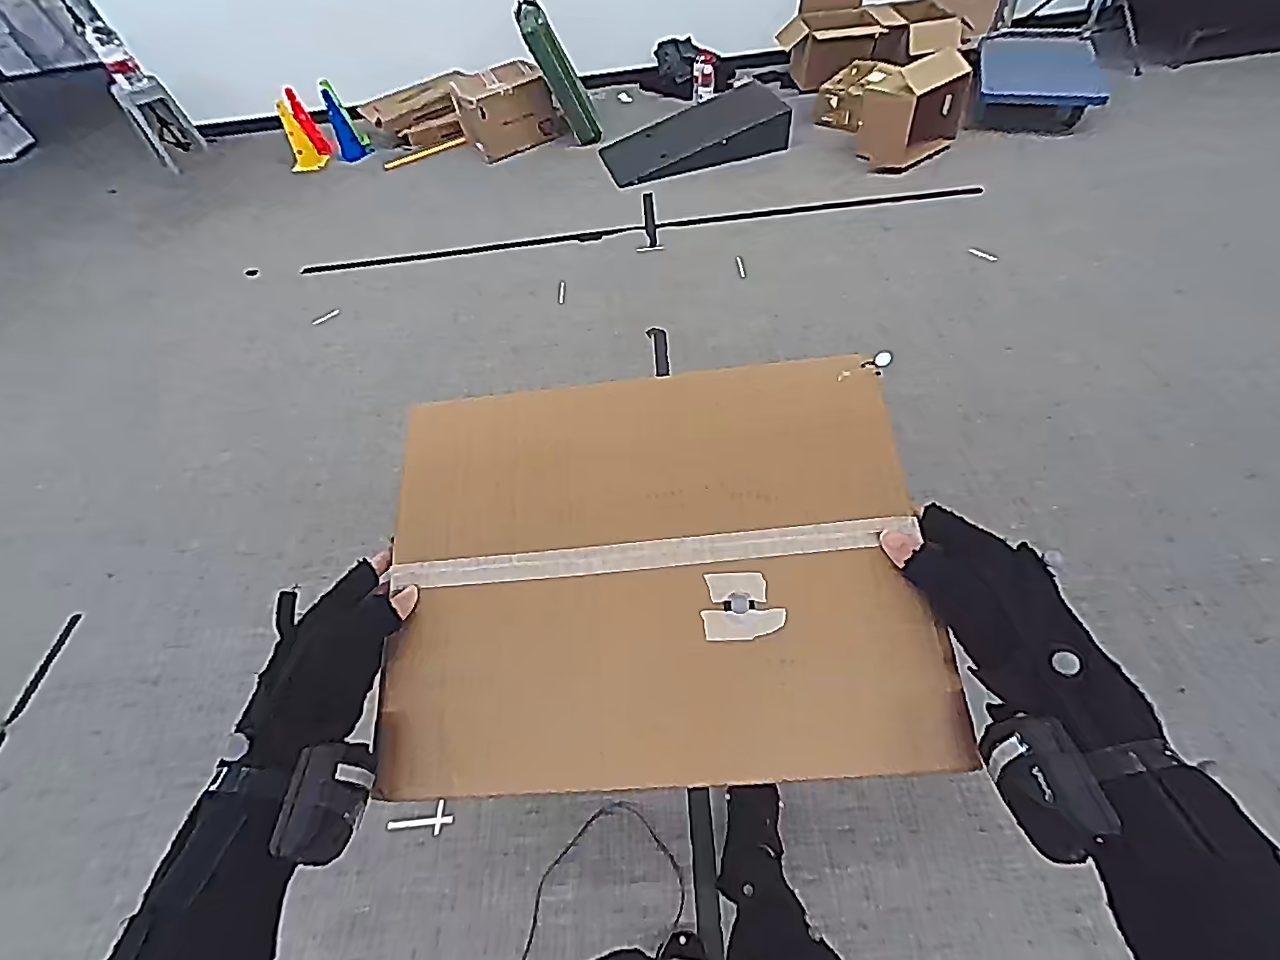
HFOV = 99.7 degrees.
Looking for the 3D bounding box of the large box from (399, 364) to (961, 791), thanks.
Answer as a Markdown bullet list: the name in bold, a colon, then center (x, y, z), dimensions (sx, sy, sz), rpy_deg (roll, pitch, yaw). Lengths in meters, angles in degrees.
- **large box**: center (0.025, 0.116, 0.568), dimensions (0.408, 0.320, 0.320), rpy_deg (-6, 68, 5)
